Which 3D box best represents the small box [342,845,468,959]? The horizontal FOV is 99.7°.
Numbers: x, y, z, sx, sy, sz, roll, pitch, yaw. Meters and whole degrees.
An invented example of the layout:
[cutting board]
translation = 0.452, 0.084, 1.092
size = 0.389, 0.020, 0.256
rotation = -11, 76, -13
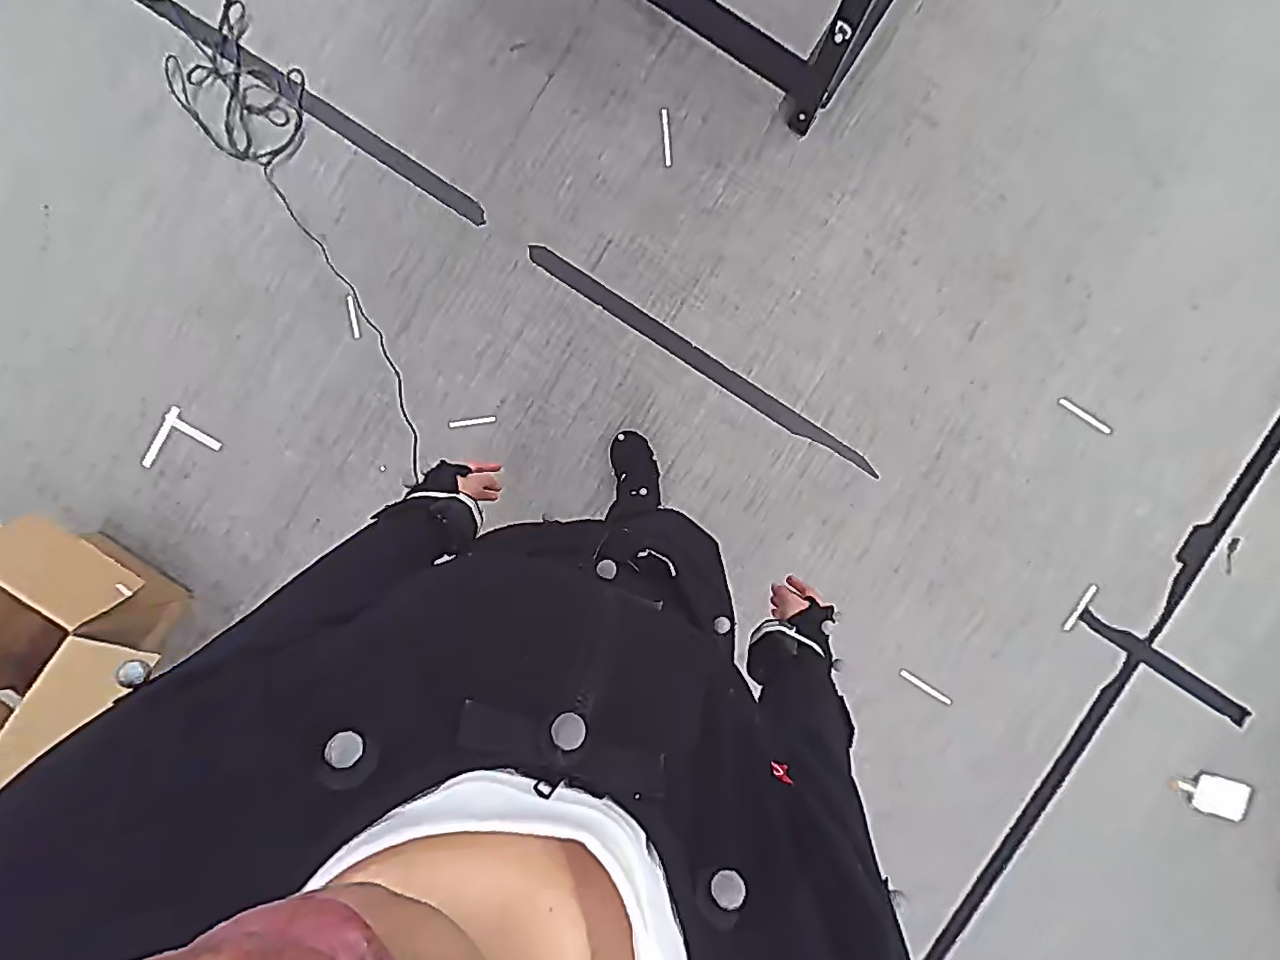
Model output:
[small box]
translation = -0.497, 0.948, 1.163
size = 0.168, 0.176, 0.179
rotation = 30, 91, -2
